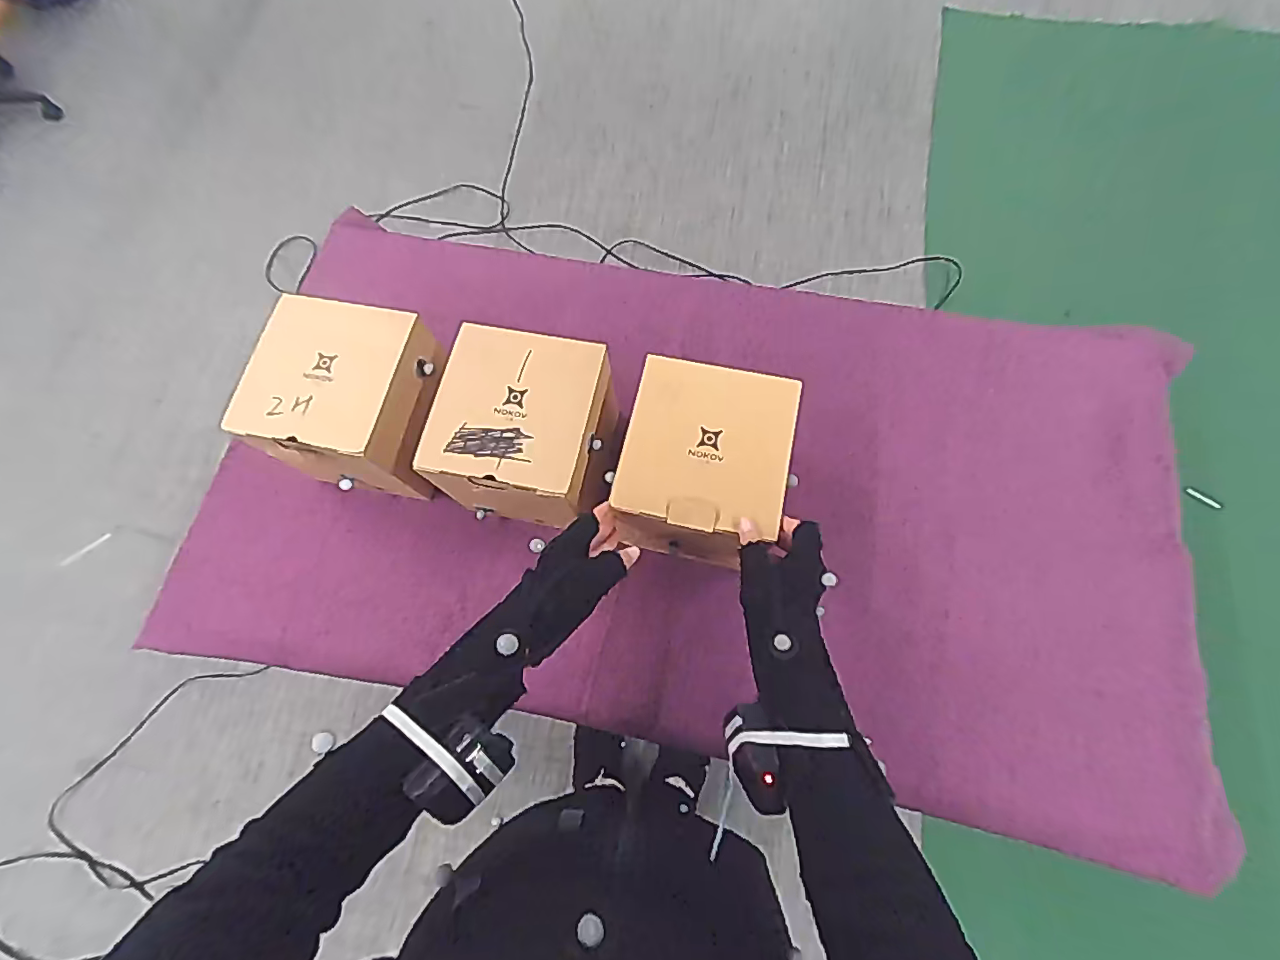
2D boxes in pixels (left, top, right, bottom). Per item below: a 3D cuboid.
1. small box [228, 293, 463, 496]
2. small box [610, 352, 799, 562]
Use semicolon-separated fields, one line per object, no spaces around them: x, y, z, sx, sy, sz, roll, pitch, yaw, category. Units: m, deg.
-0.338;-0.096;0.665;0.168;0.176;0.179;10;73;7;small box
0.070;-0.017;0.621;0.168;0.176;0.179;11;74;7;small box
